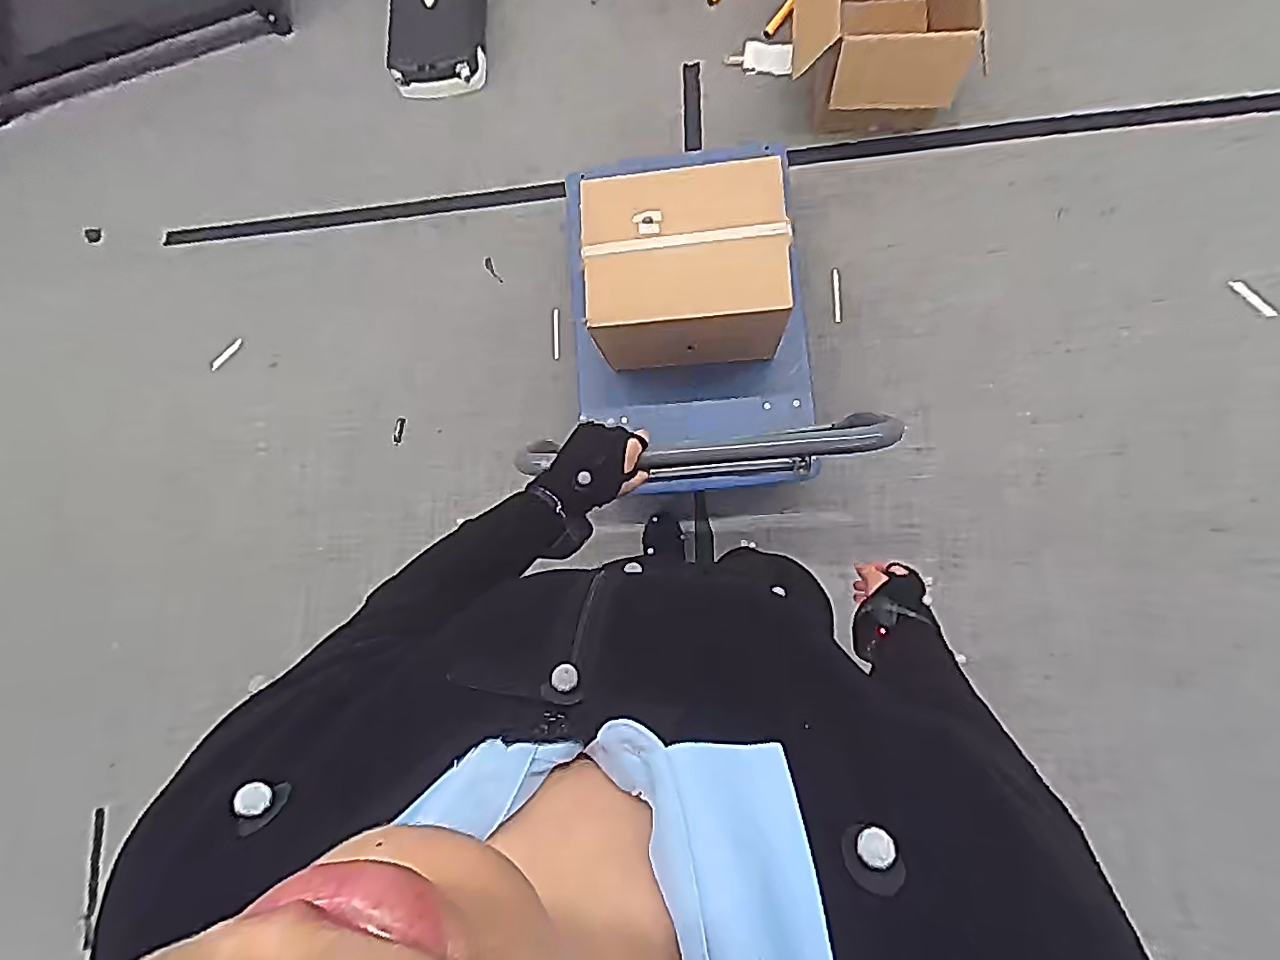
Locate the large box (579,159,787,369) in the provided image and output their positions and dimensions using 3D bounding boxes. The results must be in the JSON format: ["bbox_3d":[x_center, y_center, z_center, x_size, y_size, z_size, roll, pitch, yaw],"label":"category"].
[{"bbox_3d":[0.101,-0.458,1.226,0.408,0.320,0.320,-4,83,8],"label":"large box"}]
